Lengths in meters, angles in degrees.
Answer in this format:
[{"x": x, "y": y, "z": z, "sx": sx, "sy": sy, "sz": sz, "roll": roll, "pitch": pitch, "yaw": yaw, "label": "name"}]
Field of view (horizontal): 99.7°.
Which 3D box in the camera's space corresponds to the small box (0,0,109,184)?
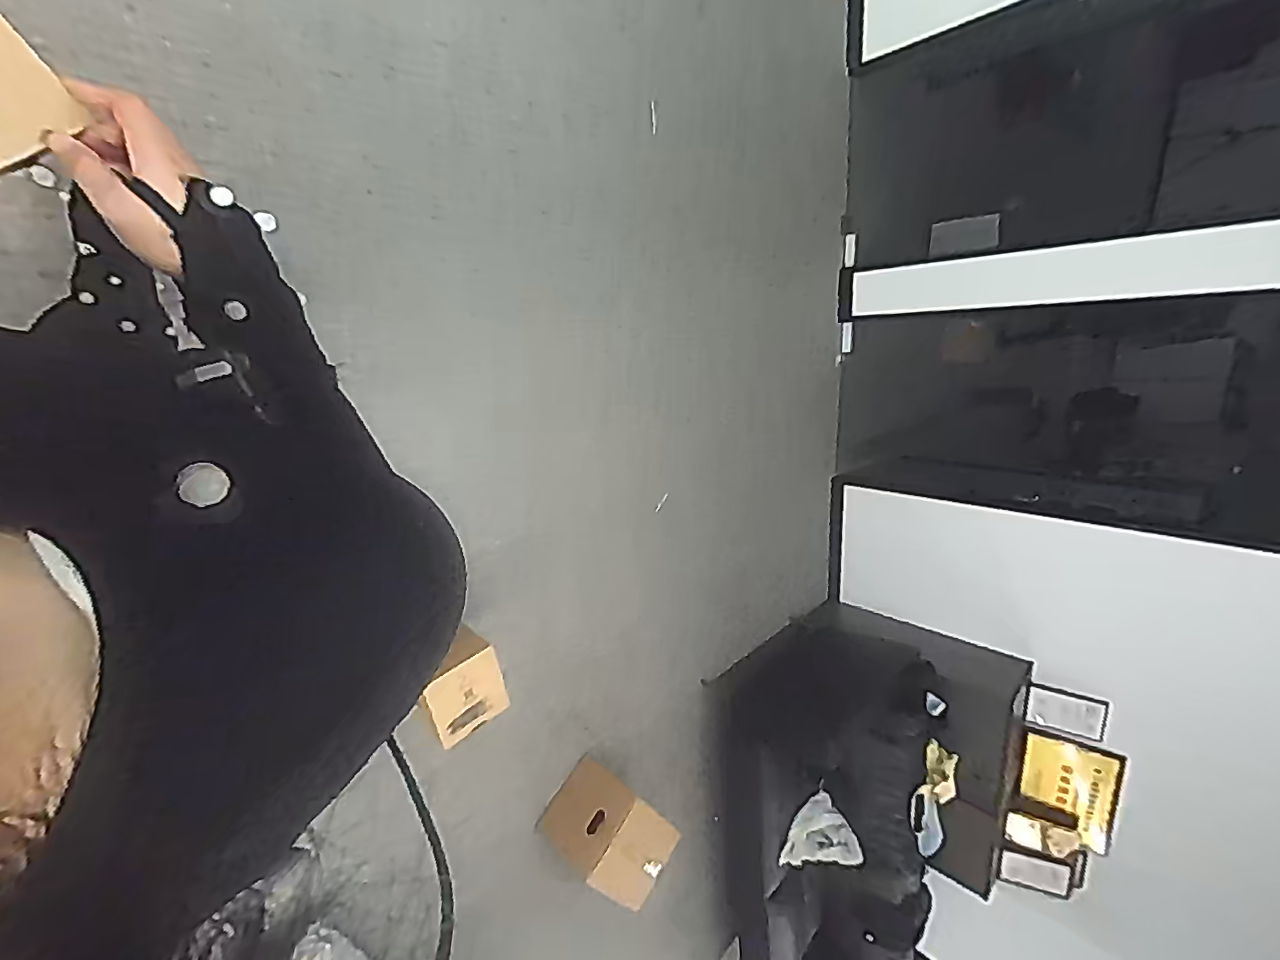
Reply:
[{"x": -0.491, "y": -0.253, "z": 0.319, "sx": 0.179, "sy": 0.176, "sz": 0.168, "roll": -52, "pitch": 141, "yaw": -24, "label": "small box"}]
